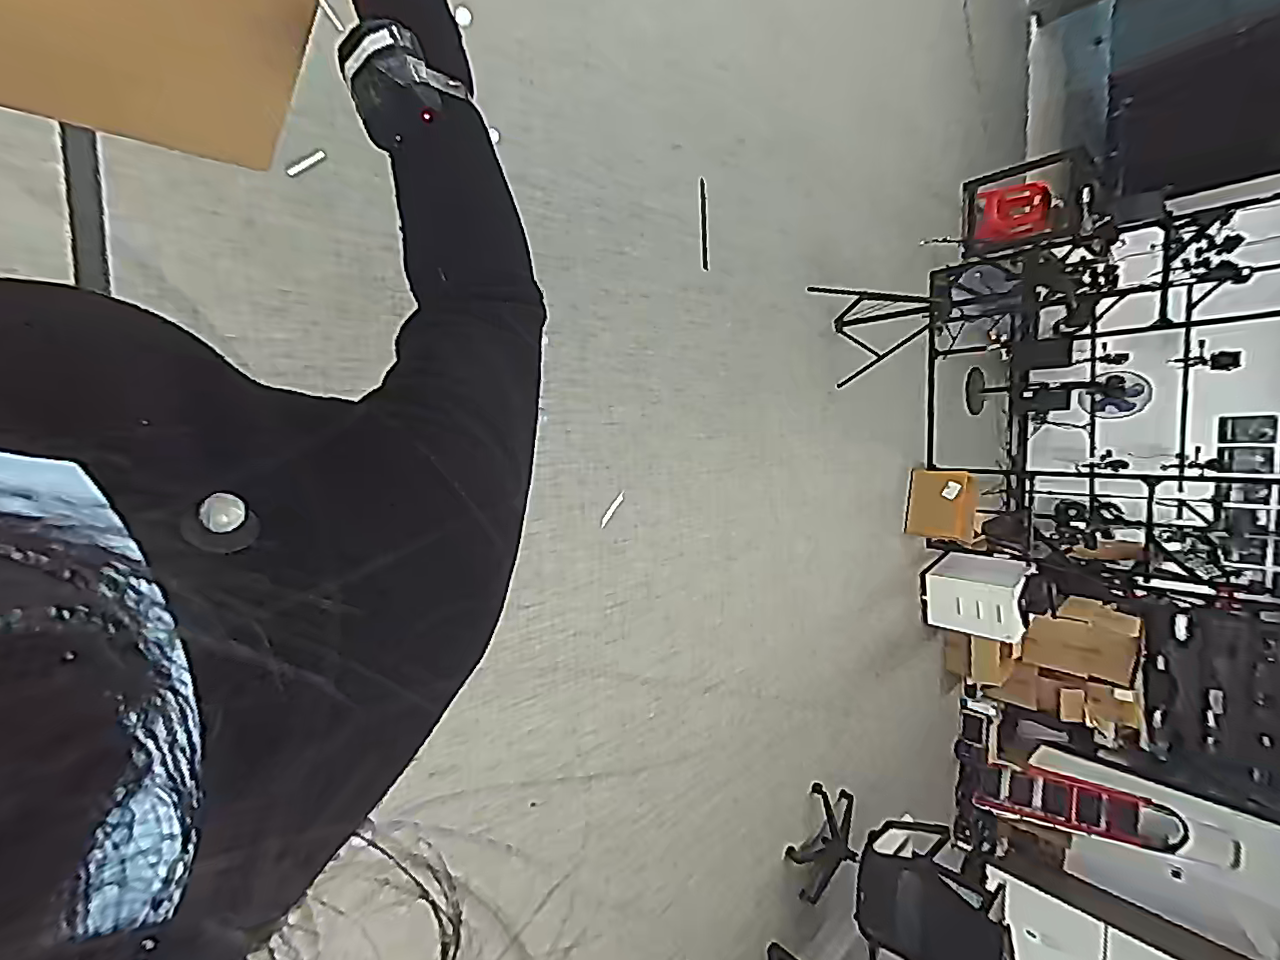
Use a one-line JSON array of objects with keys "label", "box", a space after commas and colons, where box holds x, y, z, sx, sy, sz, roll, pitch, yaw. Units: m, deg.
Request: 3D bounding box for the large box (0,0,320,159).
[{"label": "large box", "box": [-0.471, -0.479, 0.346, 0.408, 0.320, 0.320, -7, 92, -41]}]
